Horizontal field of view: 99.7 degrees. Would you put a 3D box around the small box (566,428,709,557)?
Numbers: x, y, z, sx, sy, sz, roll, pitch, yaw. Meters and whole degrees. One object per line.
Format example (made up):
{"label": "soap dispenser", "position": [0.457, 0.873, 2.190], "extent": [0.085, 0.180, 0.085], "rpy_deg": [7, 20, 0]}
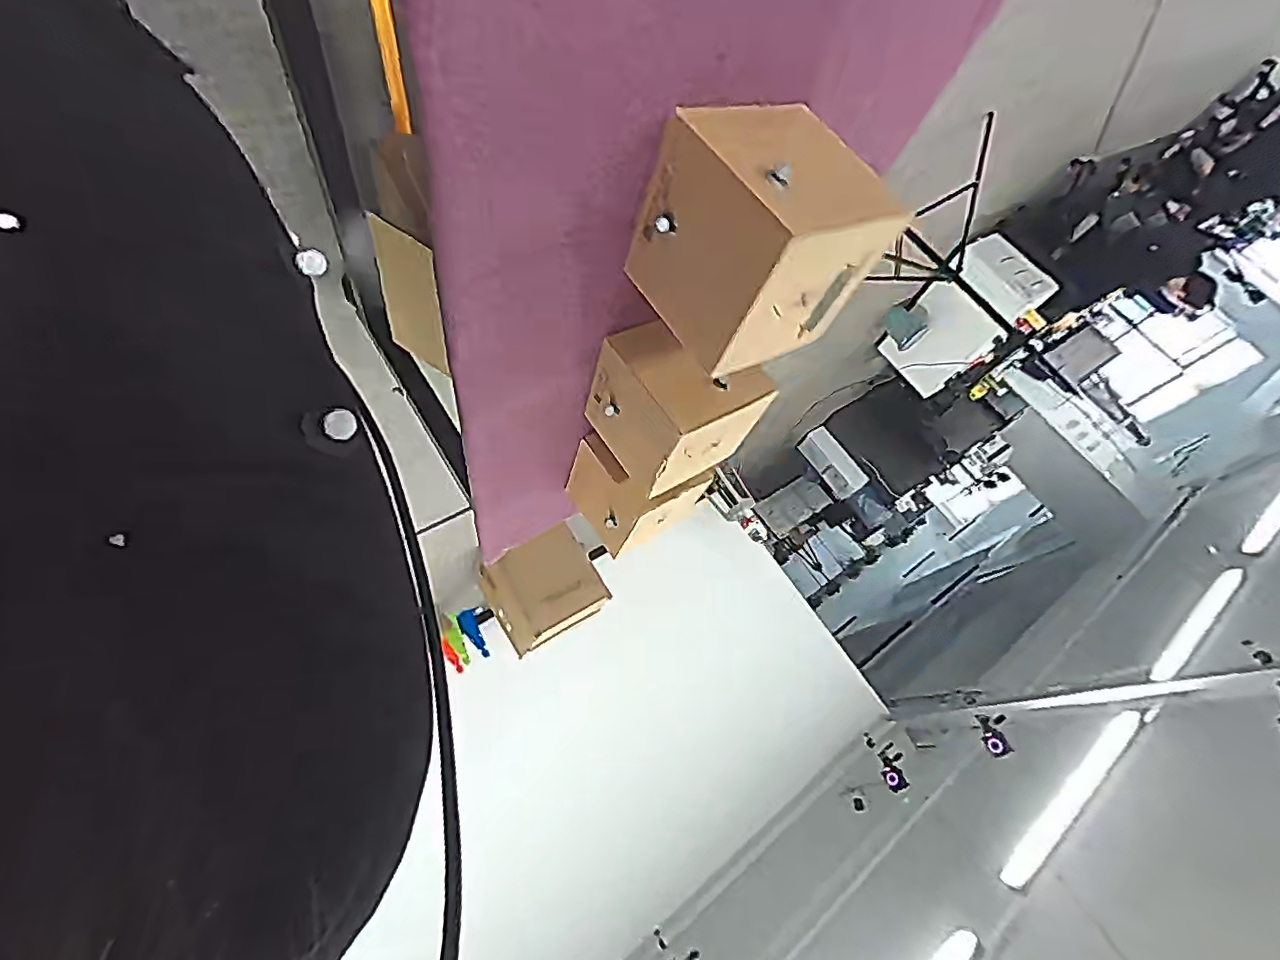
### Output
{"label": "small box", "position": [-0.014, 0.003, 0.964], "extent": [0.168, 0.176, 0.179], "rpy_deg": [-27, 161, -31]}

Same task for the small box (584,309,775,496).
{"label": "small box", "position": [0.047, -0.113, 0.762], "extent": [0.179, 0.176, 0.168], "rpy_deg": [-27, 161, -28]}
